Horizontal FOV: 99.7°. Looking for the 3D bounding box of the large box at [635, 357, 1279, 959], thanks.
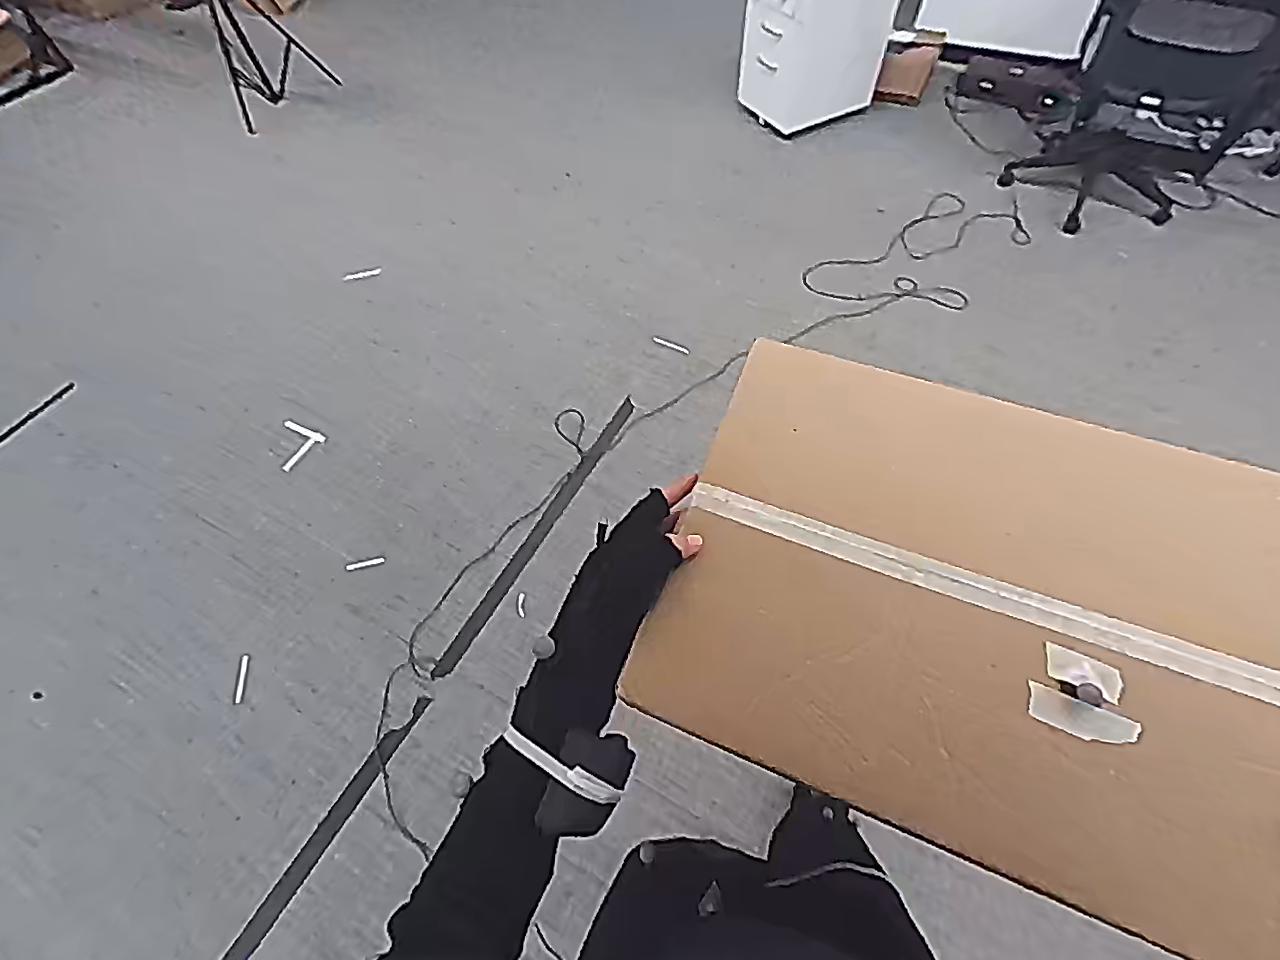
[{"bbox_3d":[0.245,0.138,0.520,0.408,0.320,0.320,19,70,14],"label":"large box"}]
